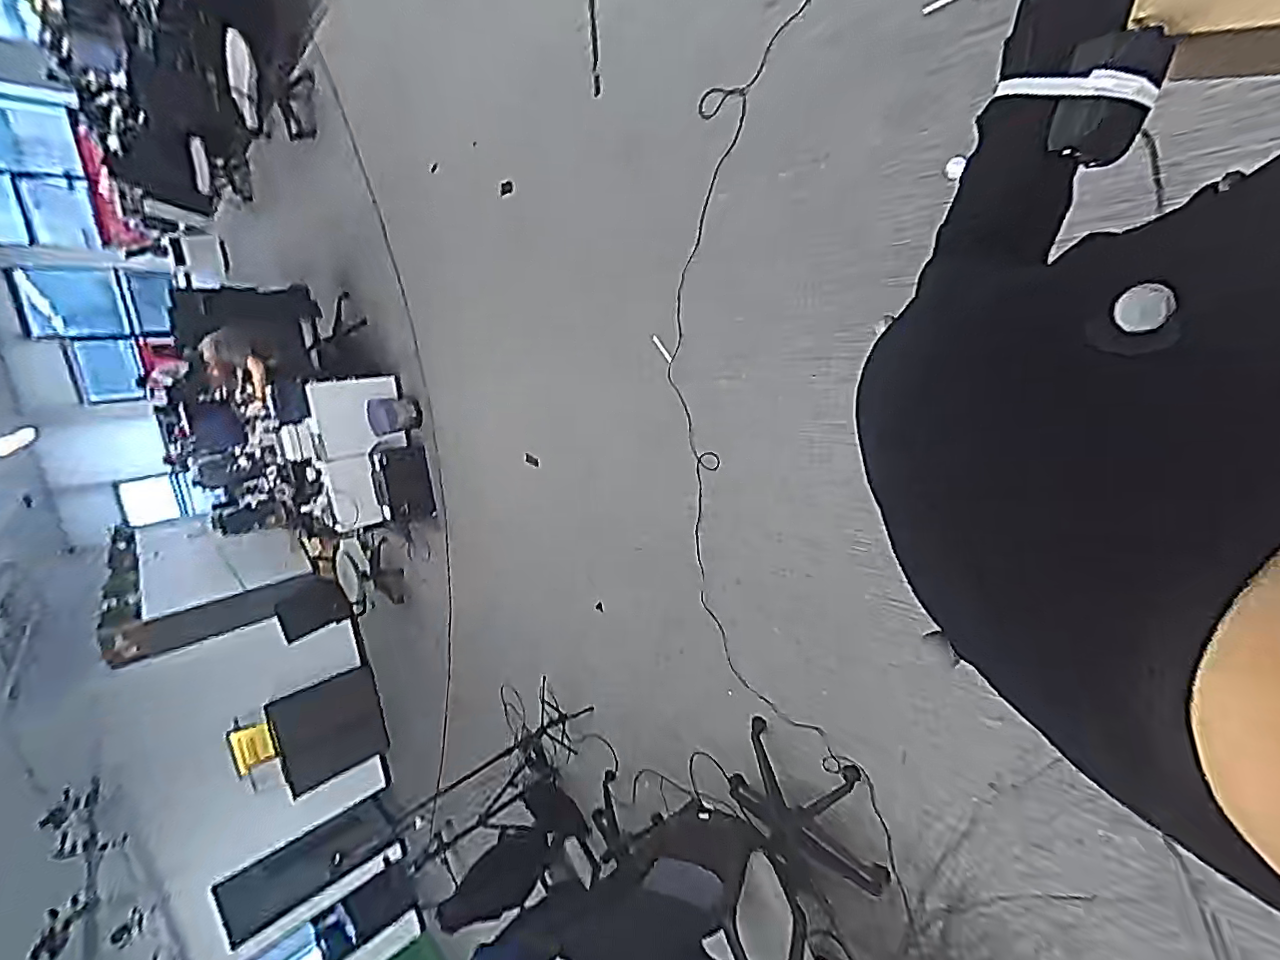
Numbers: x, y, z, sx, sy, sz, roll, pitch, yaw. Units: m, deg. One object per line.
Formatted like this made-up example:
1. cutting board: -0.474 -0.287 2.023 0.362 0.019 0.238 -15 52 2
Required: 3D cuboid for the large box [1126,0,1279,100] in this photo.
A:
1. large box: 0.553 -0.403 0.261 0.408 0.320 0.320 22 128 36
